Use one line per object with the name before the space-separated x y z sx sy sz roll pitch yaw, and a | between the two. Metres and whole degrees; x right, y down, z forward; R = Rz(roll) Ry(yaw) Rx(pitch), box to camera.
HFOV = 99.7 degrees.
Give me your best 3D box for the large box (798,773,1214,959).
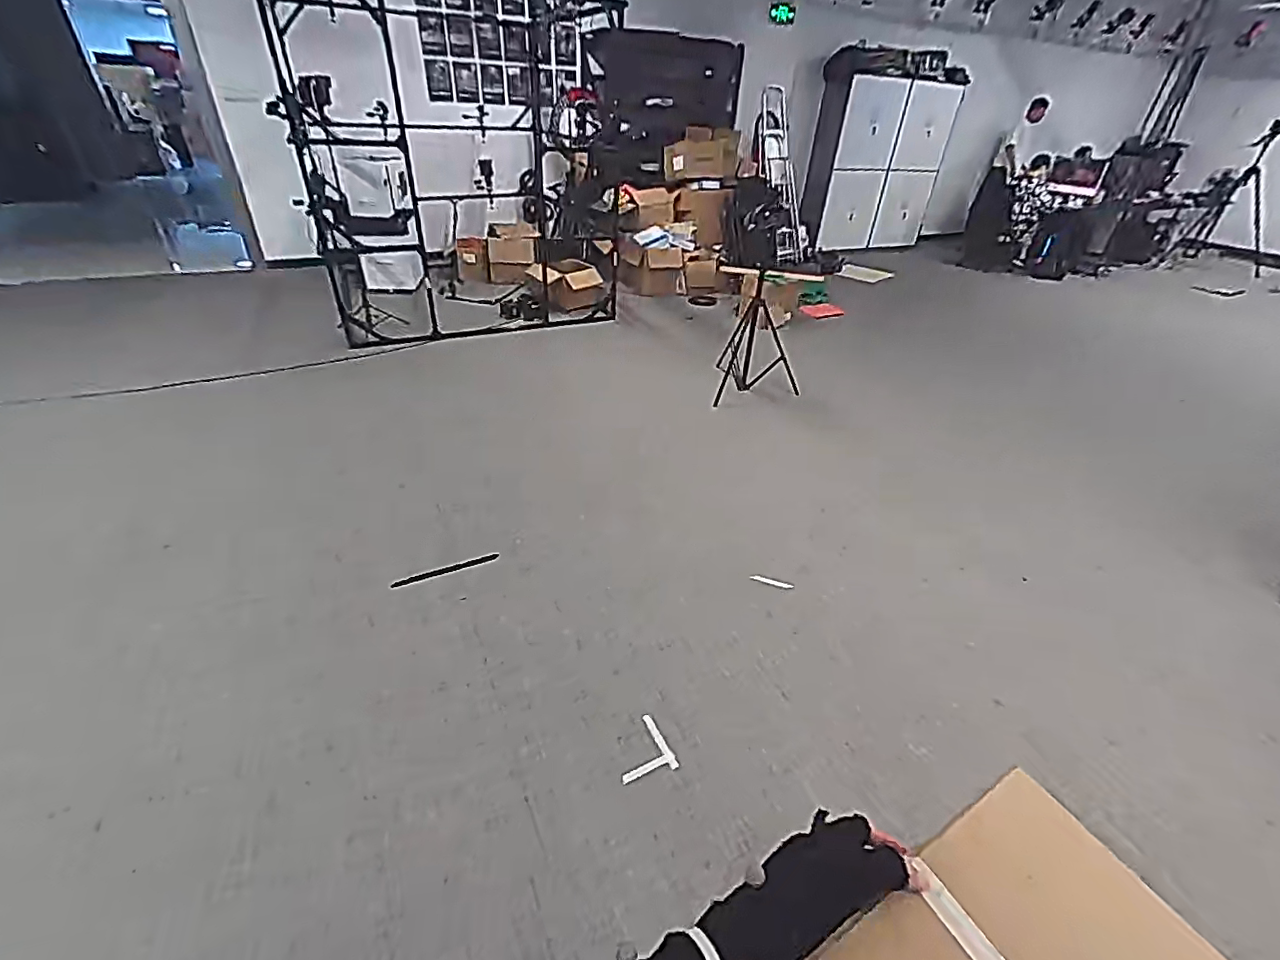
large box | 0.325 0.549 0.428 0.320 0.320 0.408 -21 45 -24
